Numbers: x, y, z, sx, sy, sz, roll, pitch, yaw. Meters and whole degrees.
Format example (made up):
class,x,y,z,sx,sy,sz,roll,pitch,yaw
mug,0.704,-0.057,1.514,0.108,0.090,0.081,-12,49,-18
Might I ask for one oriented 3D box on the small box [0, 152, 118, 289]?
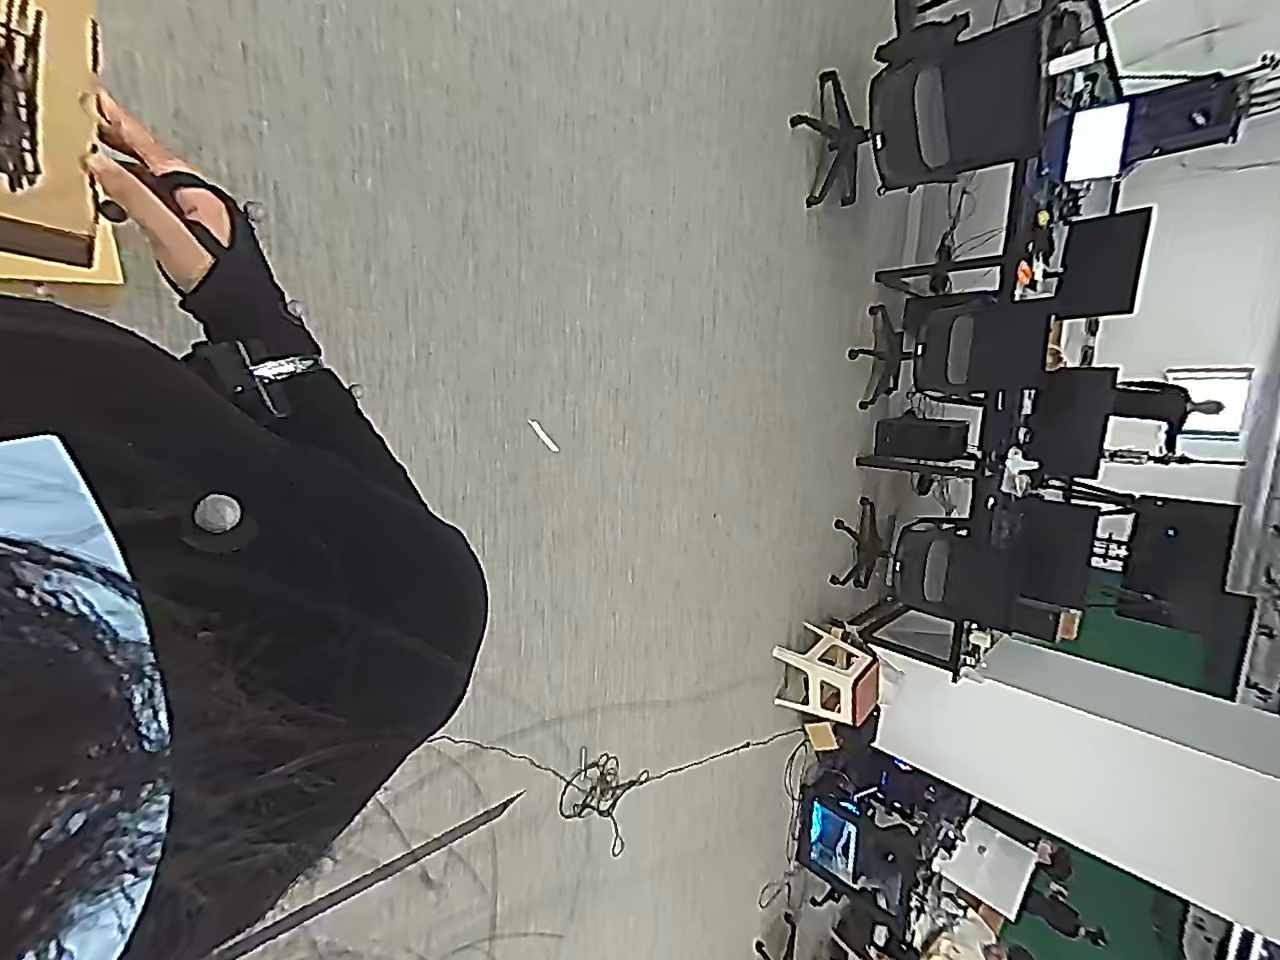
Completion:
class,x,y,z,sx,sy,sz,roll,pitch,yaw
small box,-0.936,-0.388,0.825,0.179,0.176,0.168,-14,107,-42

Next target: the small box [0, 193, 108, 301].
class,x,y,z,sx,sy,sz,roll,pitch,yaw
small box,-1.045,-0.421,0.942,0.168,0.176,0.179,-2,99,-45
